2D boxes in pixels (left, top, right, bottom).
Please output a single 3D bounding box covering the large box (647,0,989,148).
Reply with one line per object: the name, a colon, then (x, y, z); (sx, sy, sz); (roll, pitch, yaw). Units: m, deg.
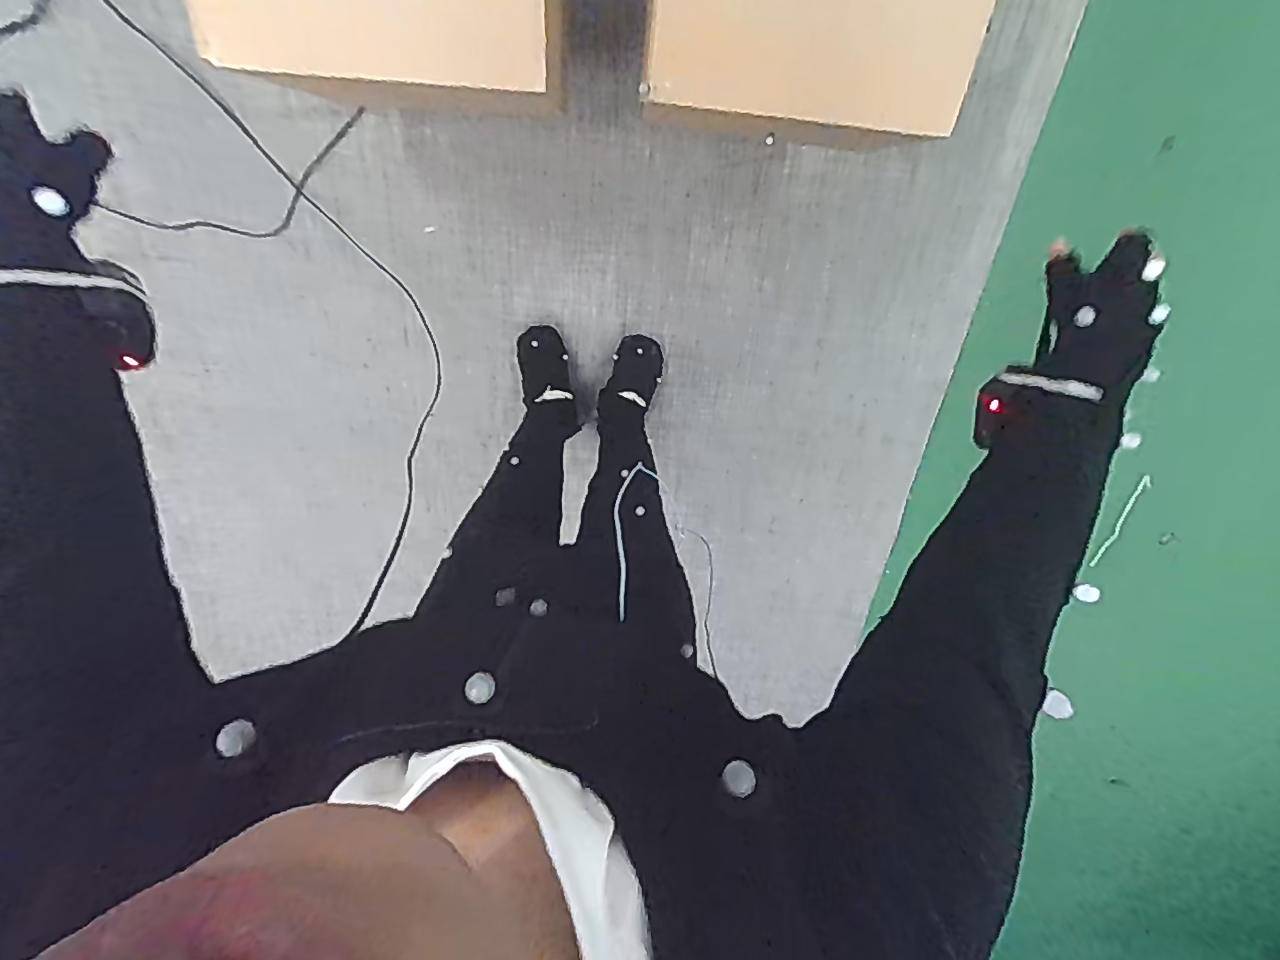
large box: (0.227, -0.674, 0.770); (0.408, 0.320, 0.320); (5, 118, -4)
